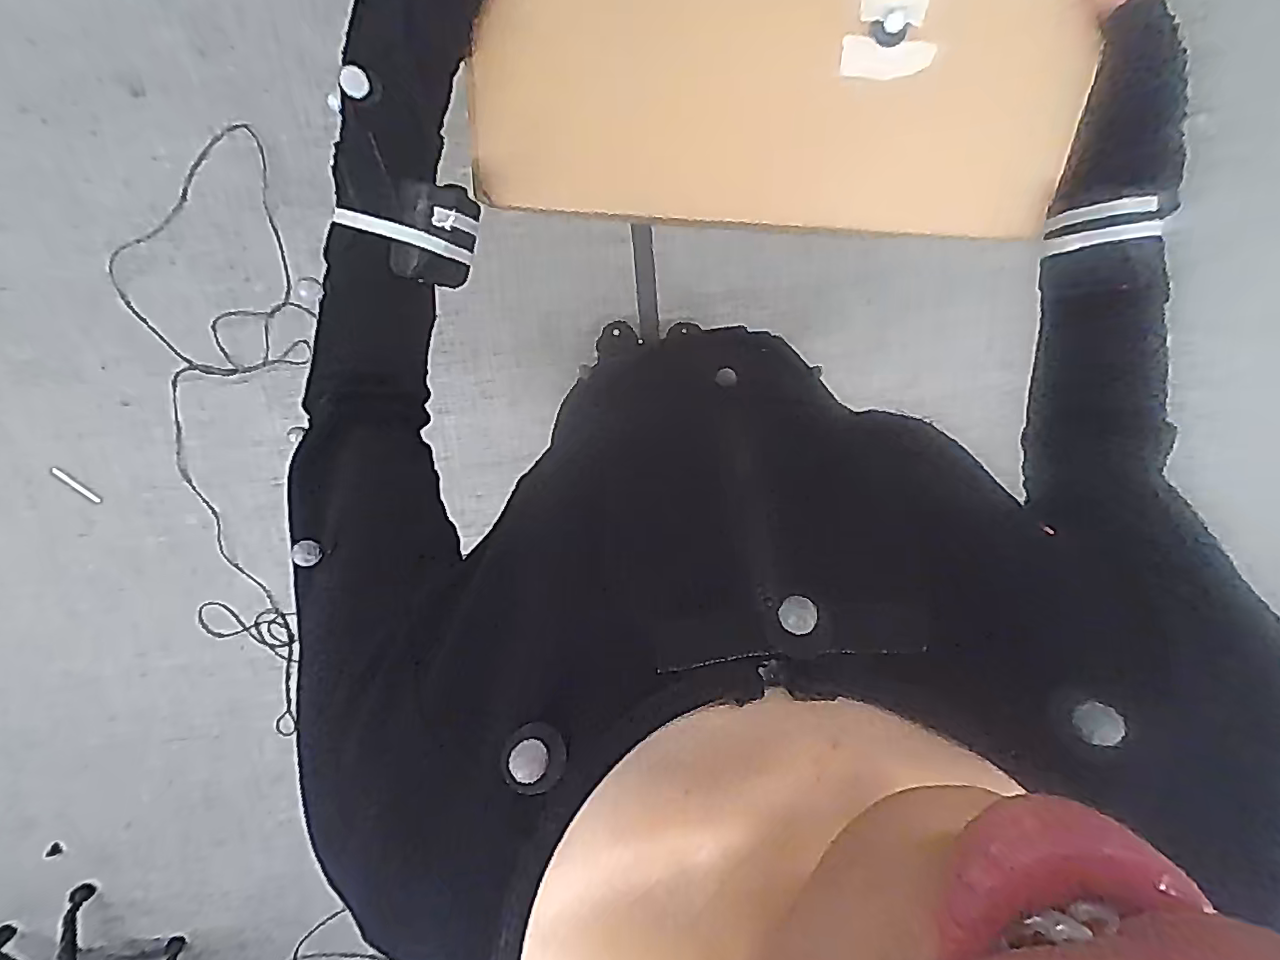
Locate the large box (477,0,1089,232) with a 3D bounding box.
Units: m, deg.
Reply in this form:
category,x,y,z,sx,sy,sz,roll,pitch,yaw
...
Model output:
category,x,y,z,sx,sy,sz,roll,pitch,yaw
large box,0.093,-0.397,0.475,0.408,0.320,0.320,3,114,0
